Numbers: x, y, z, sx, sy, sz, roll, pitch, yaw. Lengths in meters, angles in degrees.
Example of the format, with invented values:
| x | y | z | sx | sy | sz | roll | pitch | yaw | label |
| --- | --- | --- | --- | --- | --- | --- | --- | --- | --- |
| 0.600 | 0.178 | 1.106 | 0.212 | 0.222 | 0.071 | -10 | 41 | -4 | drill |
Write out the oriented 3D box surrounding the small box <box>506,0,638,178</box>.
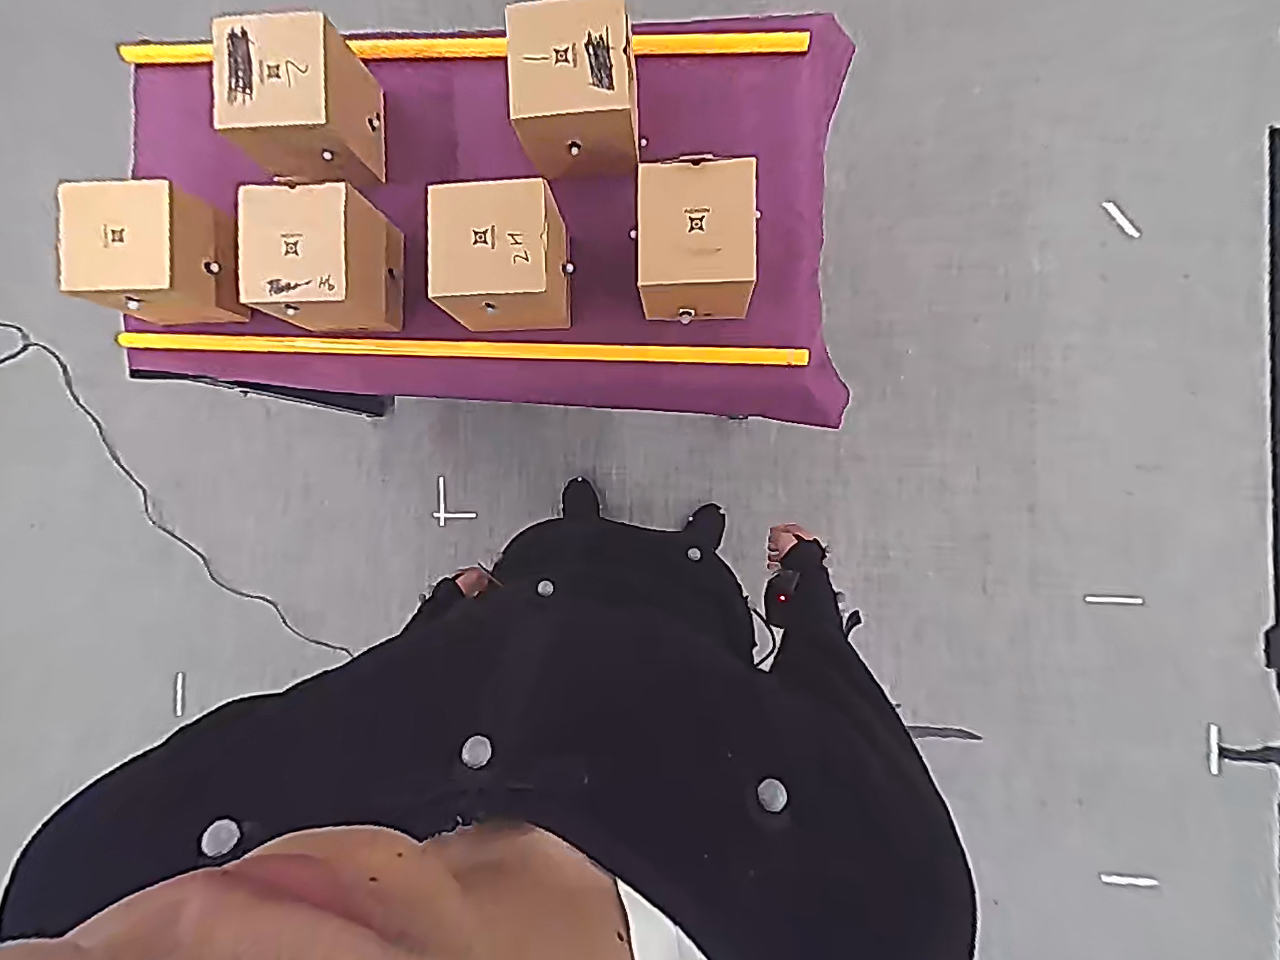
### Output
| x | y | z | sx | sy | sz | roll | pitch | yaw | label |
| --- | --- | --- | --- | --- | --- | --- | --- | --- | --- |
| -0.094 | -0.594 | 0.834 | 0.179 | 0.176 | 0.168 | -2 | 91 | 5 | small box |

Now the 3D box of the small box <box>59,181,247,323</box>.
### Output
| x | y | z | sx | sy | sz | roll | pitch | yaw | label |
| --- | --- | --- | --- | --- | --- | --- | --- | --- | --- |
| -0.778 | -0.363 | 0.885 | 0.179 | 0.176 | 0.168 | -1 | 90 | 3 | small box |

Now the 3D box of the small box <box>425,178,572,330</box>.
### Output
| x | y | z | sx | sy | sz | roll | pitch | yaw | label |
| --- | --- | --- | --- | --- | --- | --- | --- | --- | --- |
| -0.212 | -0.339 | 0.842 | 0.179 | 0.176 | 0.168 | 0 | 89 | 5 | small box |

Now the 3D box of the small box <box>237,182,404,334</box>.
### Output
| x | y | z | sx | sy | sz | roll | pitch | yaw | label |
| --- | --- | --- | --- | --- | --- | --- | --- | --- | --- |
| -0.498 | -0.344 | 0.864 | 0.168 | 0.176 | 0.179 | 1 | 90 | 6 | small box |

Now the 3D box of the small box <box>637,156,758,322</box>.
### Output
| x | y | z | sx | sy | sz | roll | pitch | yaw | label |
| --- | --- | --- | --- | --- | --- | --- | --- | --- | --- |
| 0.085 | -0.353 | 0.819 | 0.168 | 0.176 | 0.179 | 0 | 88 | 6 | small box |
